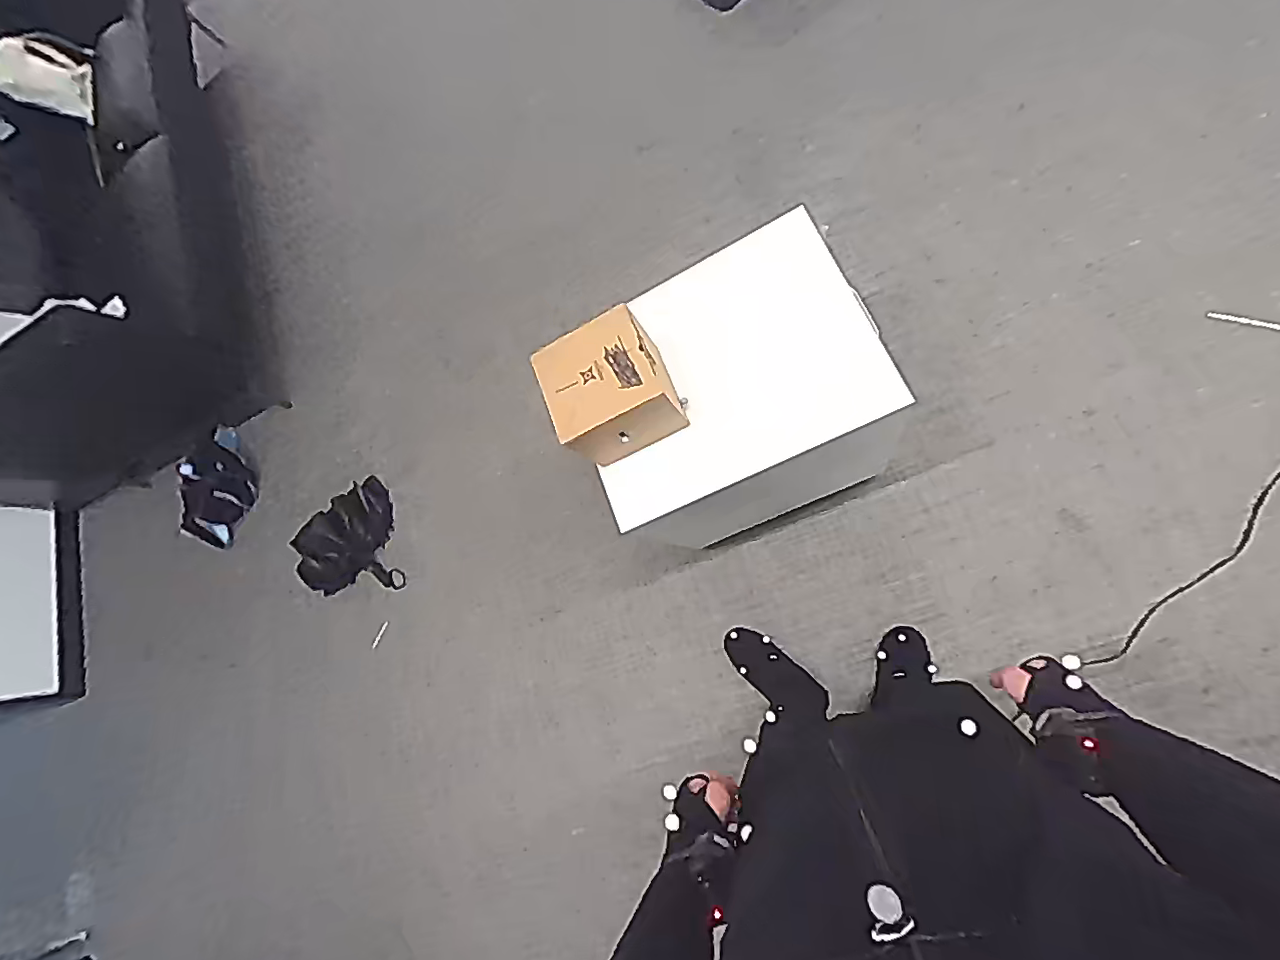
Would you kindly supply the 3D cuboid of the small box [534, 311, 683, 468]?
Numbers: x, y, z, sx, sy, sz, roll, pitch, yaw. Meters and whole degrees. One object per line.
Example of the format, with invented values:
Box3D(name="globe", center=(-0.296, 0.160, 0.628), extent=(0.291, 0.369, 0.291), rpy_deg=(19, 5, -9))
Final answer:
Box3D(name="small box", center=(-0.041, -0.137, 0.888), extent=(0.179, 0.176, 0.168), rpy_deg=(-26, 72, 14))
